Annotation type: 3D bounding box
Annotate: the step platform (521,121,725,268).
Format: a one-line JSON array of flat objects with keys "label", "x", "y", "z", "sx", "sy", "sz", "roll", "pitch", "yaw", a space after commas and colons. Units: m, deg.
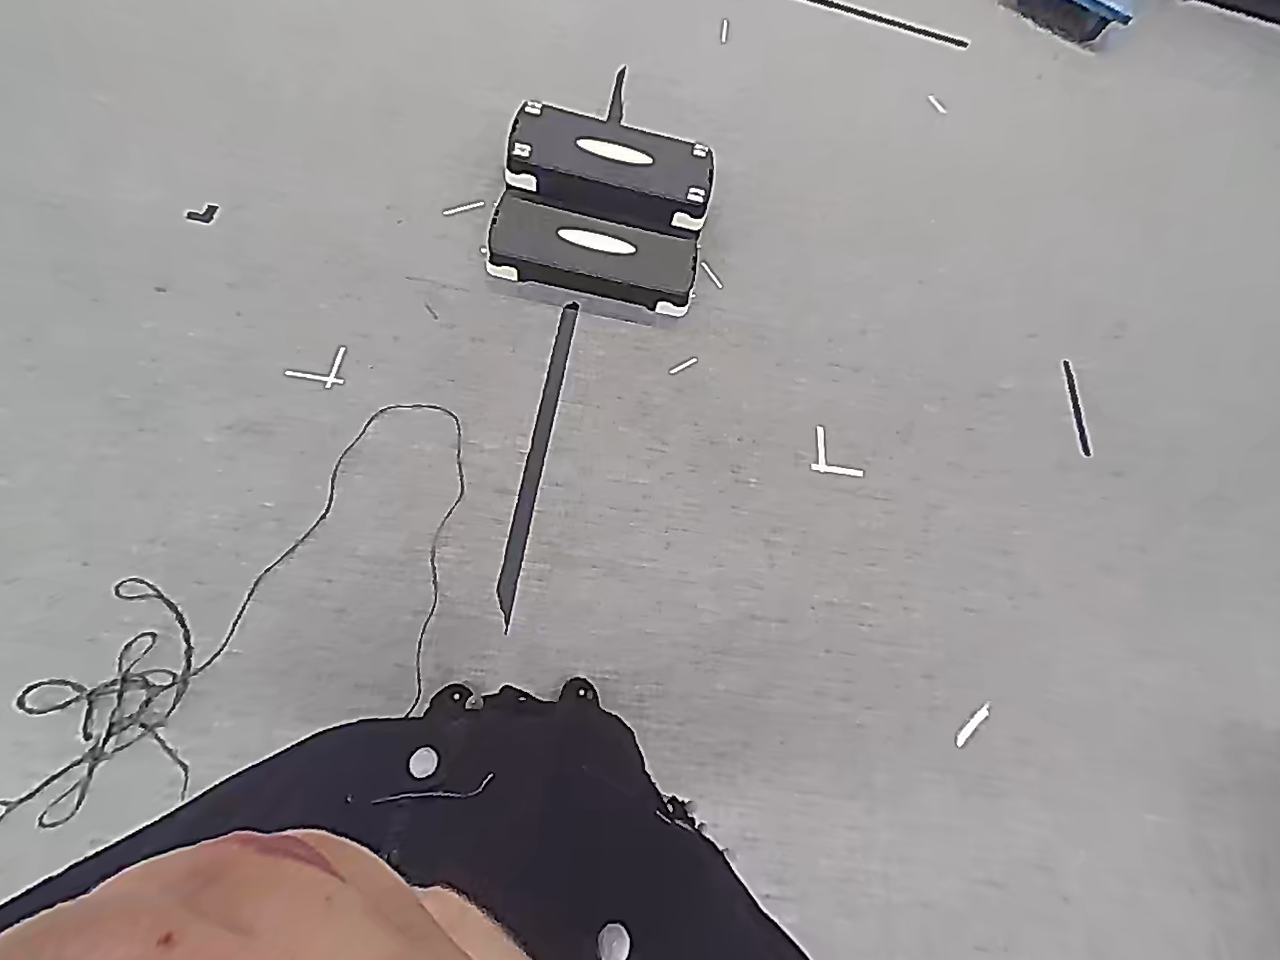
[{"label": "step platform", "x": -0.055, "y": -0.978, "z": 1.859, "sx": 0.684, "sy": 0.204, "sz": 0.286, "roll": 15, "pitch": 67, "yaw": -5}]
